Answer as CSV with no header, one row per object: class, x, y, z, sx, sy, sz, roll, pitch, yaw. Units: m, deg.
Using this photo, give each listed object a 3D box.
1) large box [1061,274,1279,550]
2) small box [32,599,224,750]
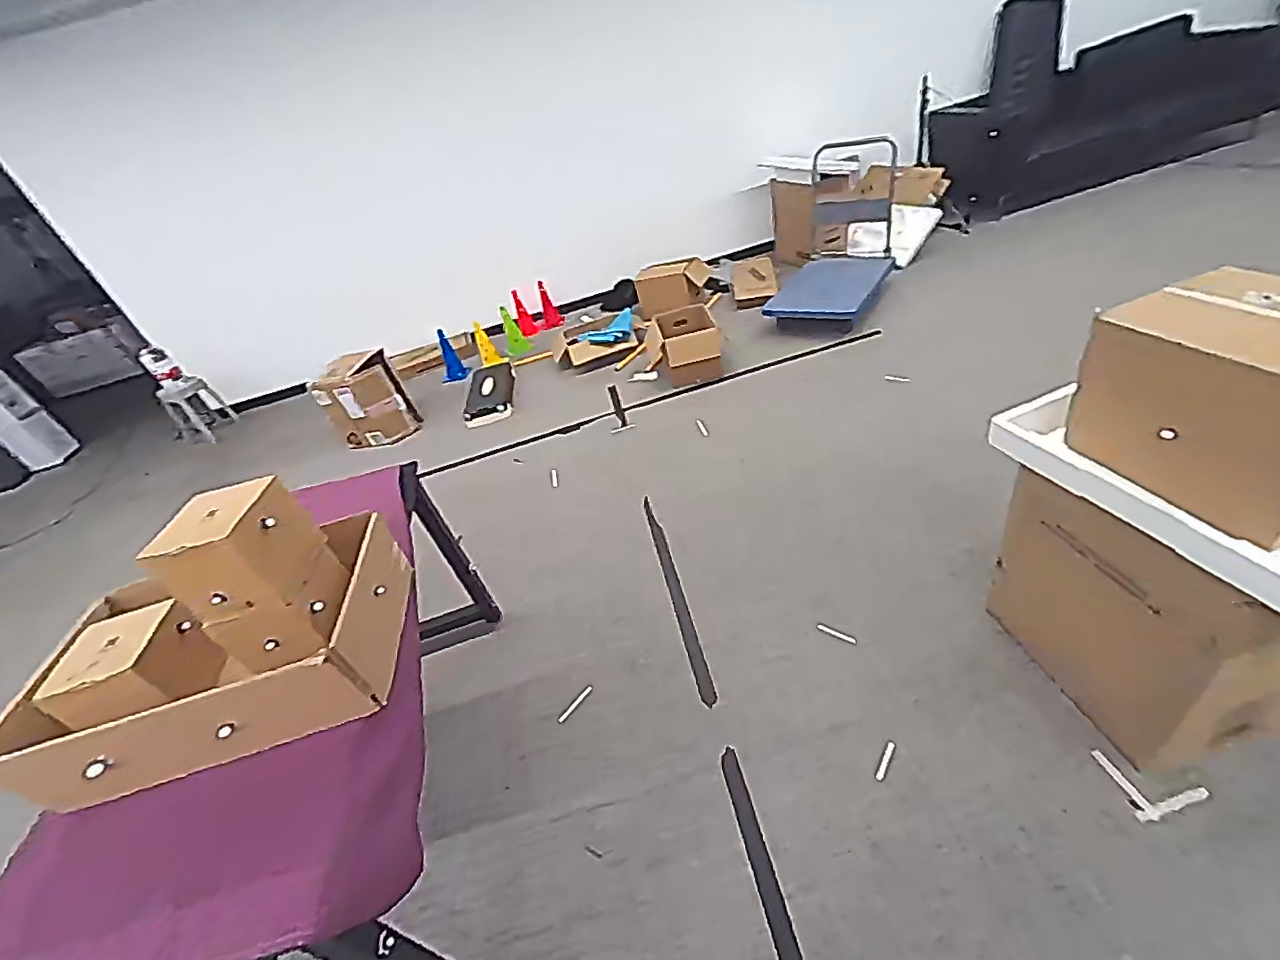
large box,1.110,-0.144,0.999,0.320,0.320,0.408,-20,35,-5
small box,-0.932,0.362,1.012,0.168,0.176,0.179,-19,36,-5
